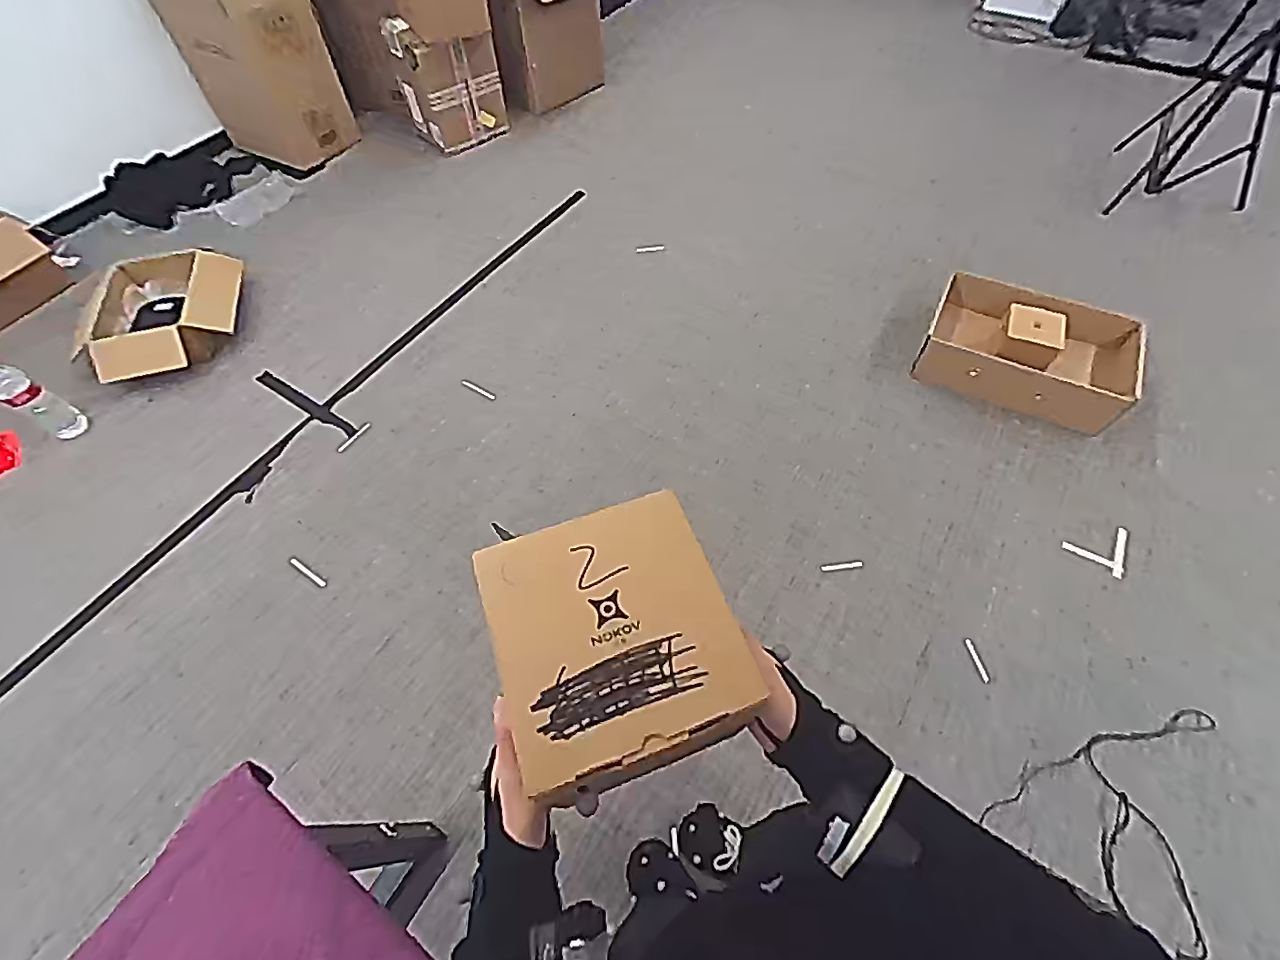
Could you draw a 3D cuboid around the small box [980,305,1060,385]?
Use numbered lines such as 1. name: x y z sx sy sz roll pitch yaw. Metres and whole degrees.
1. small box: 1.282 -0.457 1.832 0.168 0.176 0.179 19 61 14
